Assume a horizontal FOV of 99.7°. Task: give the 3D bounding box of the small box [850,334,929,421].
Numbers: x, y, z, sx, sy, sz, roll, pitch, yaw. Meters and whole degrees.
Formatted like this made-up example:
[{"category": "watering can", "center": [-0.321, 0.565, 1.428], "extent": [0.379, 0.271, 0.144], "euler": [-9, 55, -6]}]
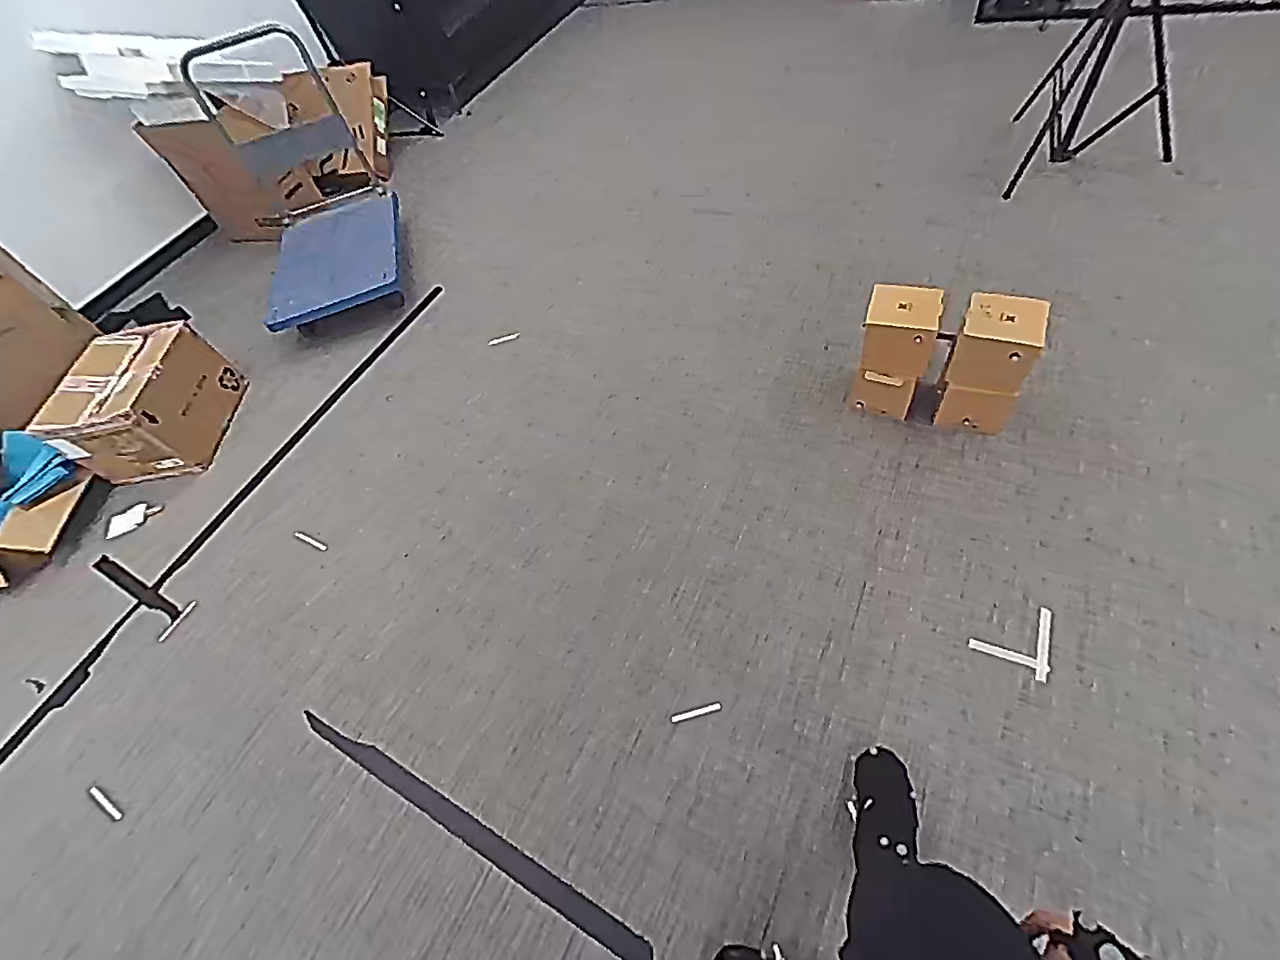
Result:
[{"category": "small box", "center": [0.737, -0.302, 1.611], "extent": [0.168, 0.176, 0.179], "euler": [20, 62, 24]}]
